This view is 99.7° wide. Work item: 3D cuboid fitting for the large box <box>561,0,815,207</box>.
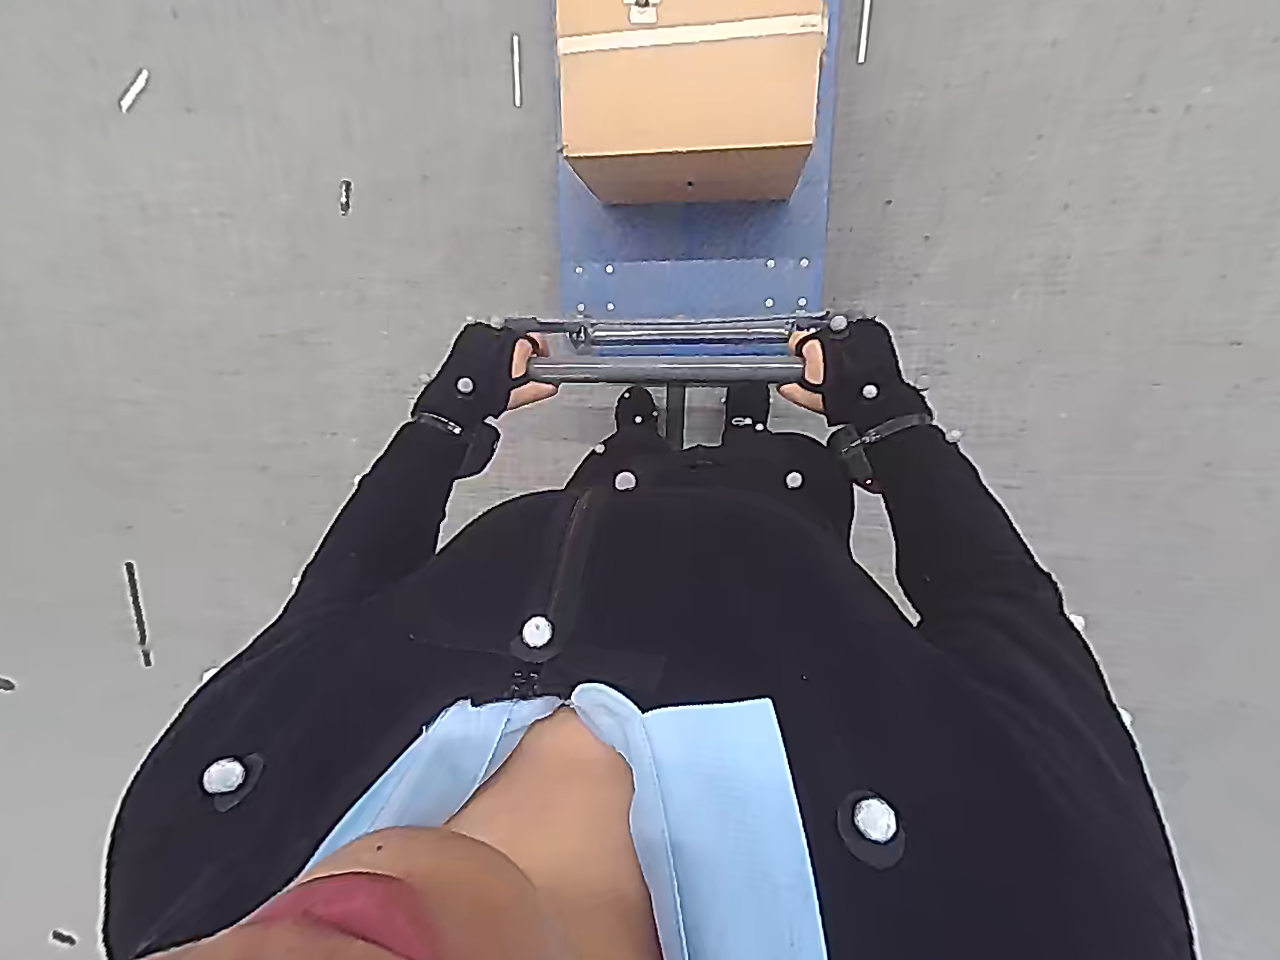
[{"bbox_3d":[0.094,-0.713,0.996,0.408,0.320,0.320,2,103,9],"label":"large box"}]
